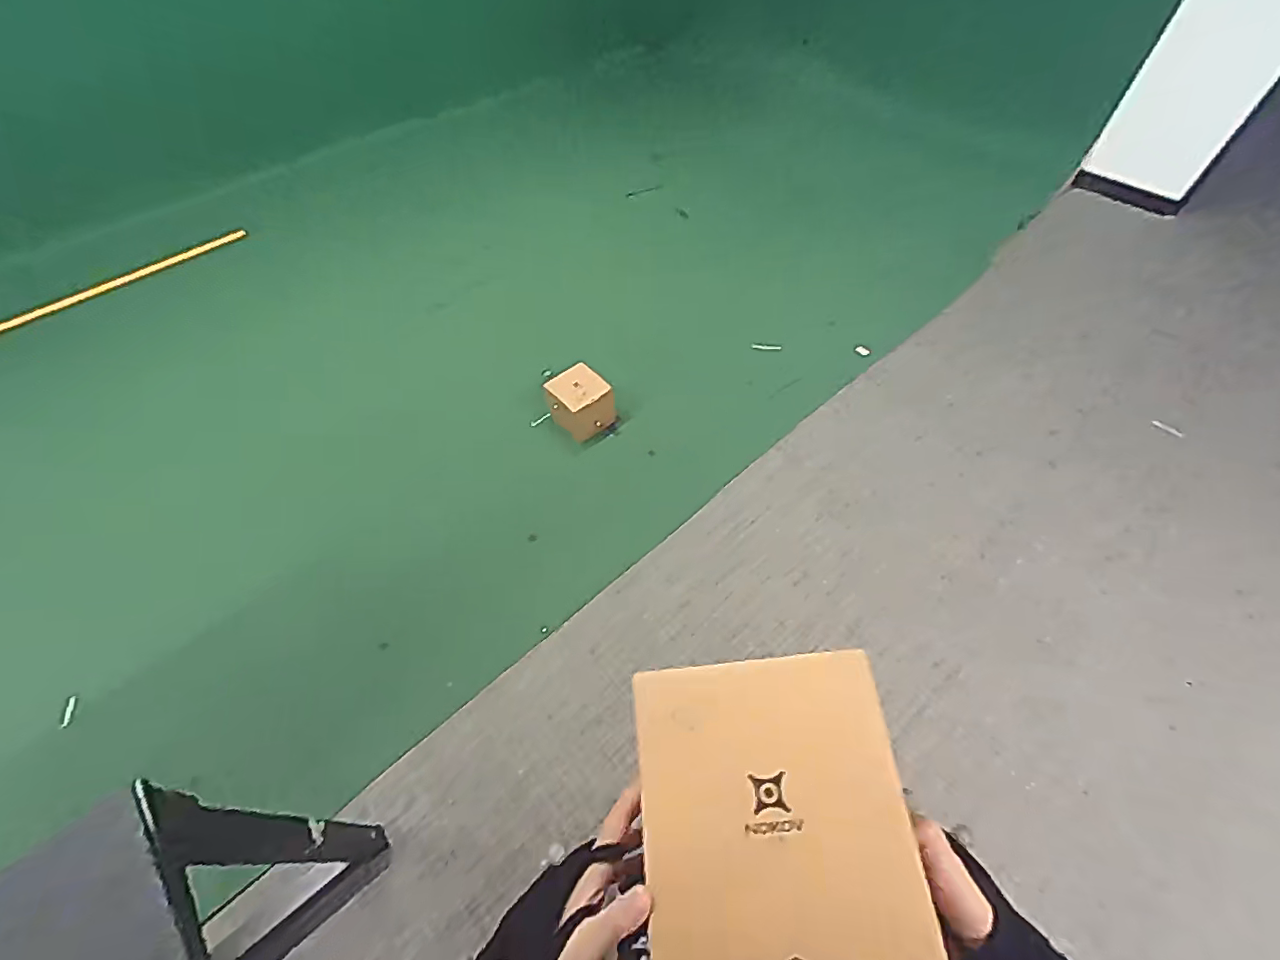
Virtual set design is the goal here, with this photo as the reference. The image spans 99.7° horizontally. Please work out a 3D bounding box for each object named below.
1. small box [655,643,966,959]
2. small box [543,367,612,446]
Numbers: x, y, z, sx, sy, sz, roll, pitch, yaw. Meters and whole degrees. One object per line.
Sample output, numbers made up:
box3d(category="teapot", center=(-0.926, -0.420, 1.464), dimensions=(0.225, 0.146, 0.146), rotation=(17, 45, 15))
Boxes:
box3d(category="small box", center=(0.100, 0.232, 0.405), dimensions=(0.168, 0.176, 0.179), rotation=(-5, 62, 5))
box3d(category="small box", center=(-0.213, -0.251, 1.874), dimensions=(0.168, 0.176, 0.179), rotation=(-36, 62, -22))
